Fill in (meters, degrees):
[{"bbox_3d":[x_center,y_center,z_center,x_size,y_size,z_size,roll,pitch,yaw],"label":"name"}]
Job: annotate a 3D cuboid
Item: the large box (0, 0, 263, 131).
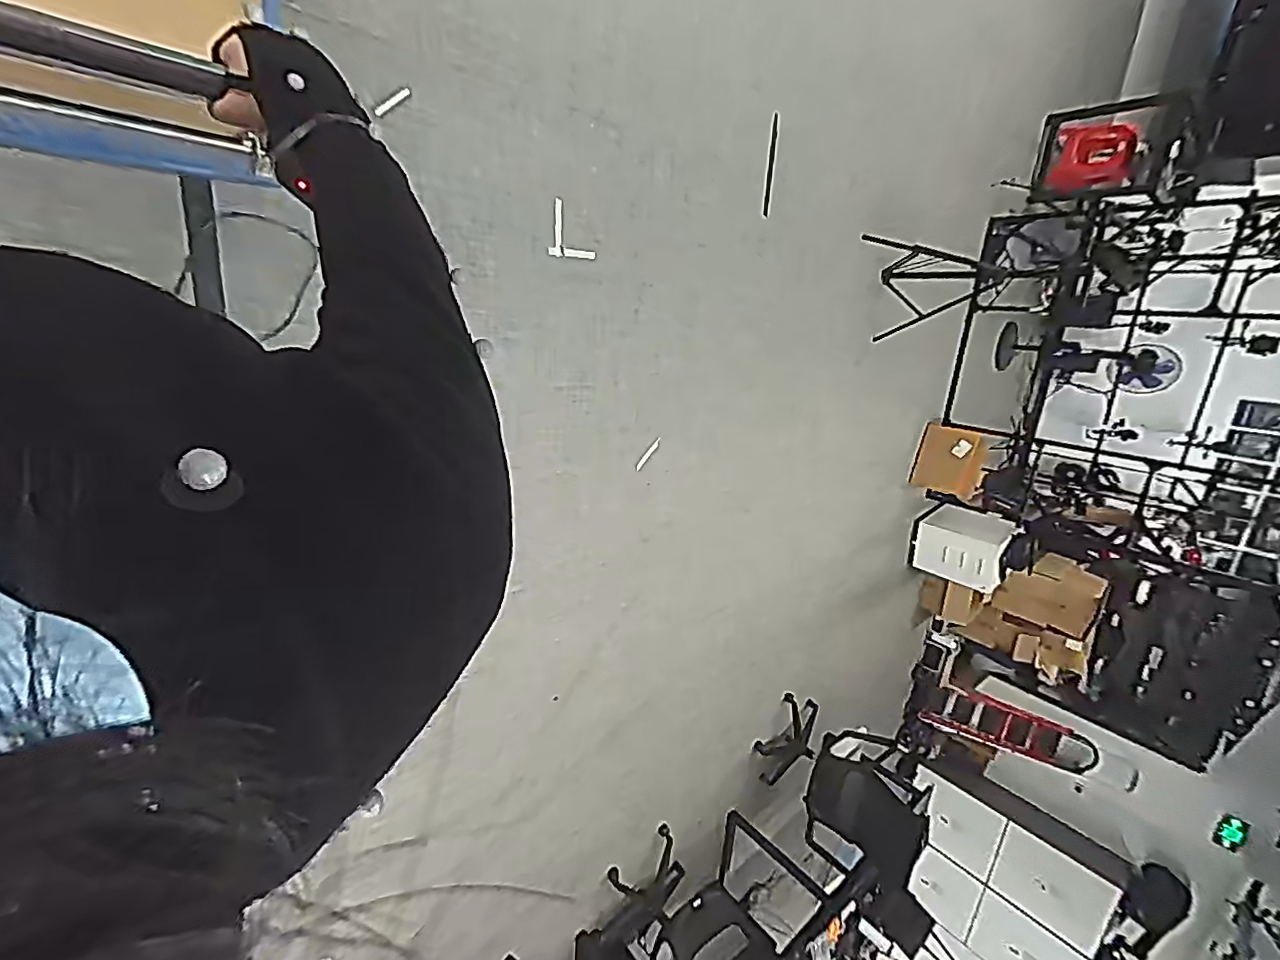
[{"bbox_3d":[-0.787,-0.709,0.713,0.408,0.320,0.320,-12,114,-41],"label":"large box"}]
